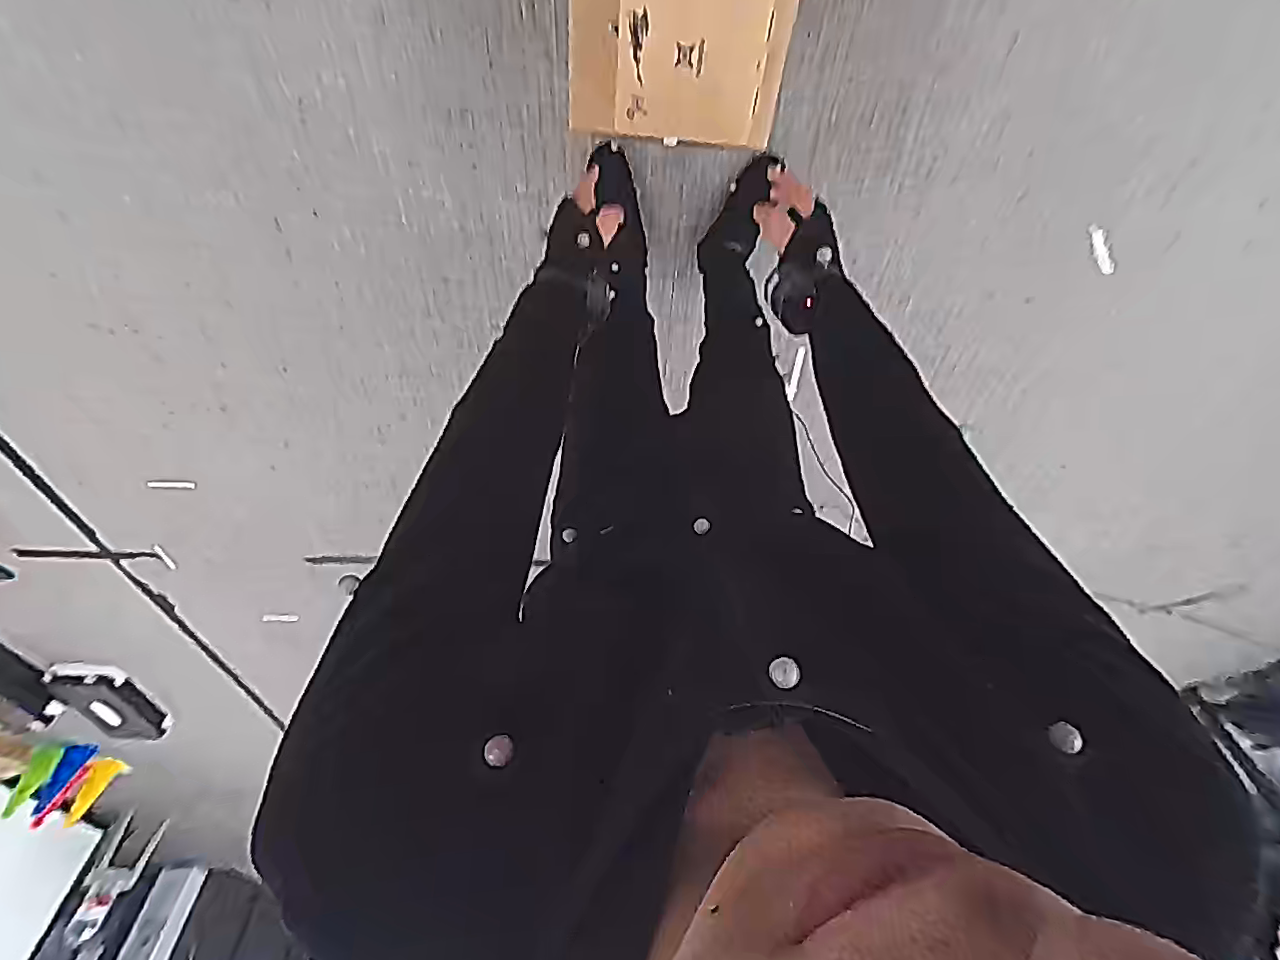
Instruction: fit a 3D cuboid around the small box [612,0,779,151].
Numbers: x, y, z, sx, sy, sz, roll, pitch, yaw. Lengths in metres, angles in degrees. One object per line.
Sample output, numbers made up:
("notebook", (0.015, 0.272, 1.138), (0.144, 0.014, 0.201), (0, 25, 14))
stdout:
("small box", (0.058, -0.543, 0.692), (0.179, 0.176, 0.168), (2, 134, -5))
